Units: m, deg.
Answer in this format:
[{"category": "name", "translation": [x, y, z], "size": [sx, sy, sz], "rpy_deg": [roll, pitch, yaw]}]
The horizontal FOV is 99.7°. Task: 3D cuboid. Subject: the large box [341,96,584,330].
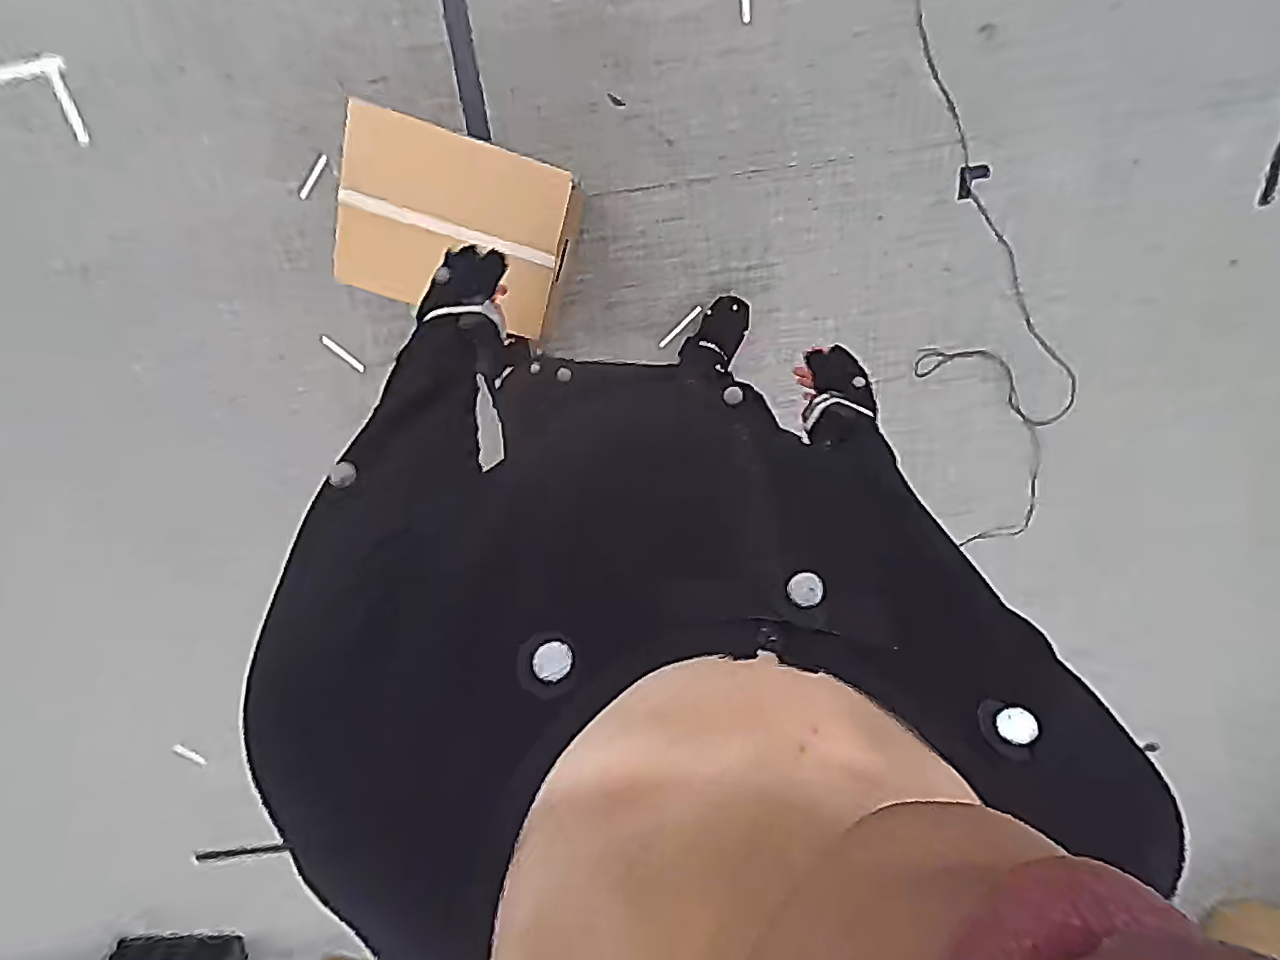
[{"category": "large box", "translation": [-0.354, -0.540, 1.151], "size": [0.408, 0.320, 0.320], "rpy_deg": [15, 112, -9]}]
